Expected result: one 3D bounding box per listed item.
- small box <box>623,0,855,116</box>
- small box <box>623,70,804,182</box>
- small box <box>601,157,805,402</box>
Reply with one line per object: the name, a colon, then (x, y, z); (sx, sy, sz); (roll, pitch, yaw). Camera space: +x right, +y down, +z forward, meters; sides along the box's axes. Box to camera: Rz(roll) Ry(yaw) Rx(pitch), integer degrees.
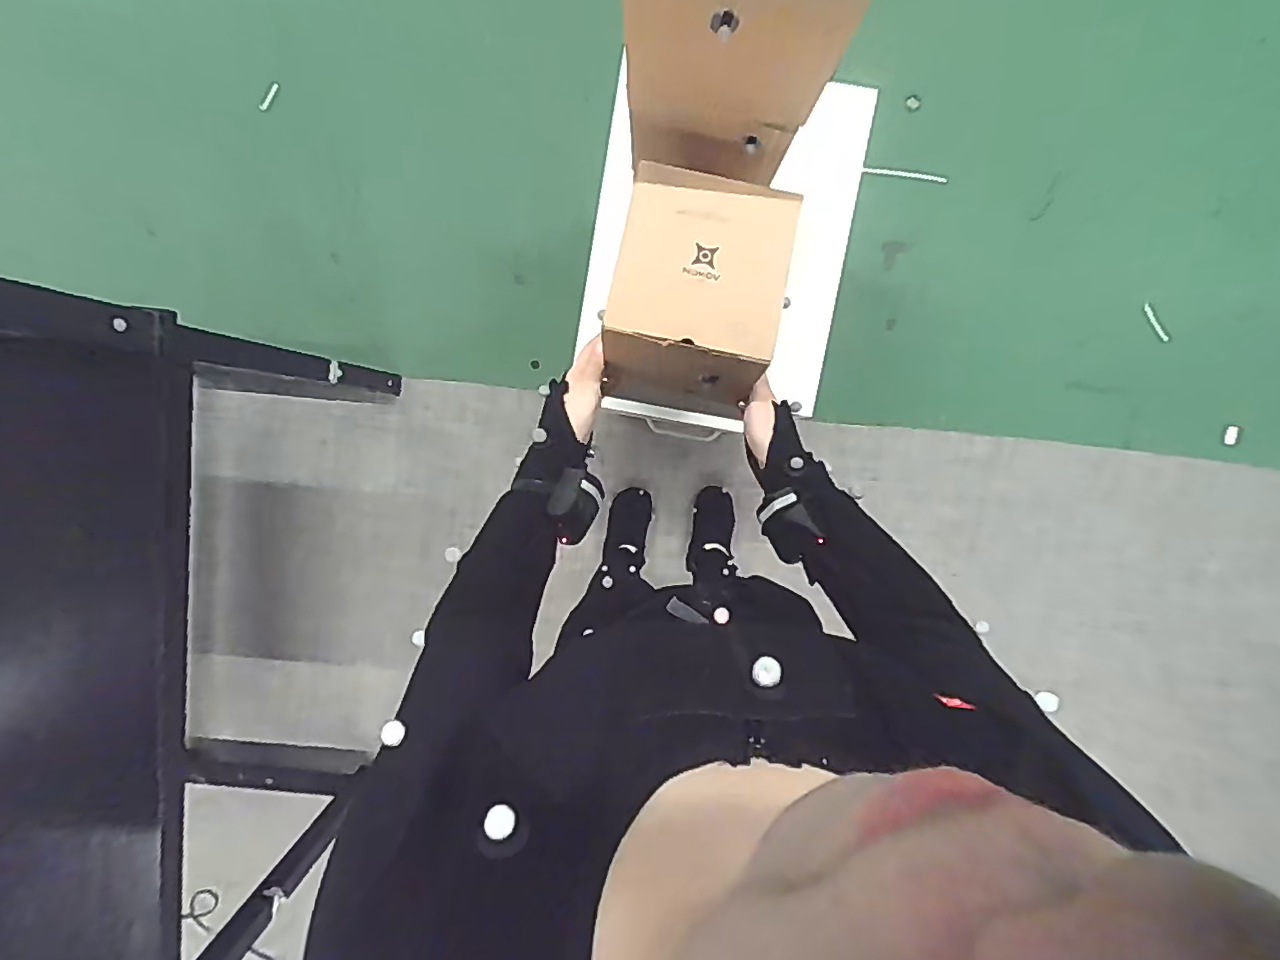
small box: (0.078, -0.421, 0.424); (0.179, 0.176, 0.168); (6, 96, 0)
small box: (0.086, -0.440, 0.587); (0.179, 0.176, 0.168); (13, 95, -1)
small box: (0.057, -0.195, 0.579); (0.168, 0.176, 0.179); (11, 82, -2)
